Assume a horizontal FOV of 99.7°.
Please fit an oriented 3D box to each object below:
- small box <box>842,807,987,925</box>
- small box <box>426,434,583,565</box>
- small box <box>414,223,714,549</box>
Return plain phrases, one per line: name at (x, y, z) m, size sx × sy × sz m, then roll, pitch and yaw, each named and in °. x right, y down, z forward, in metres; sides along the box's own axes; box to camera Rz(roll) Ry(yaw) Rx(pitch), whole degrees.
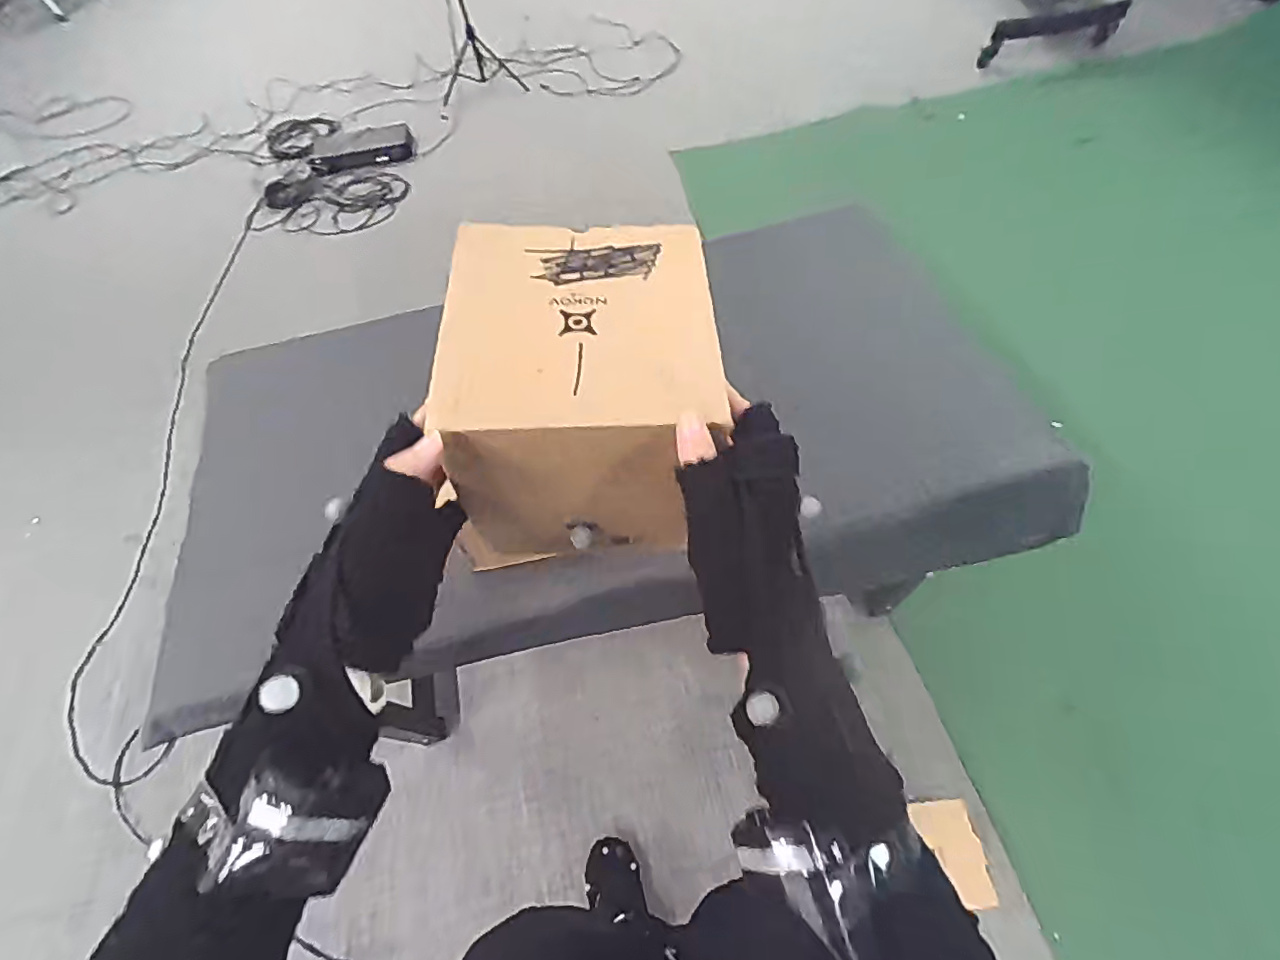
small box at (0.514, 0.733, 1.042) m, size 0.179 × 0.176 × 0.168 m, roll -7°, pitch 58°, yaw 2°
small box at (-0.149, -0.007, 0.682) m, size 0.179 × 0.176 × 0.168 m, roll -11°, pitch 58°, yaw -2°
small box at (-0.046, -0.062, 0.403) m, size 0.168 × 0.176 × 0.179 m, roll -1°, pitch 60°, yaw -3°
